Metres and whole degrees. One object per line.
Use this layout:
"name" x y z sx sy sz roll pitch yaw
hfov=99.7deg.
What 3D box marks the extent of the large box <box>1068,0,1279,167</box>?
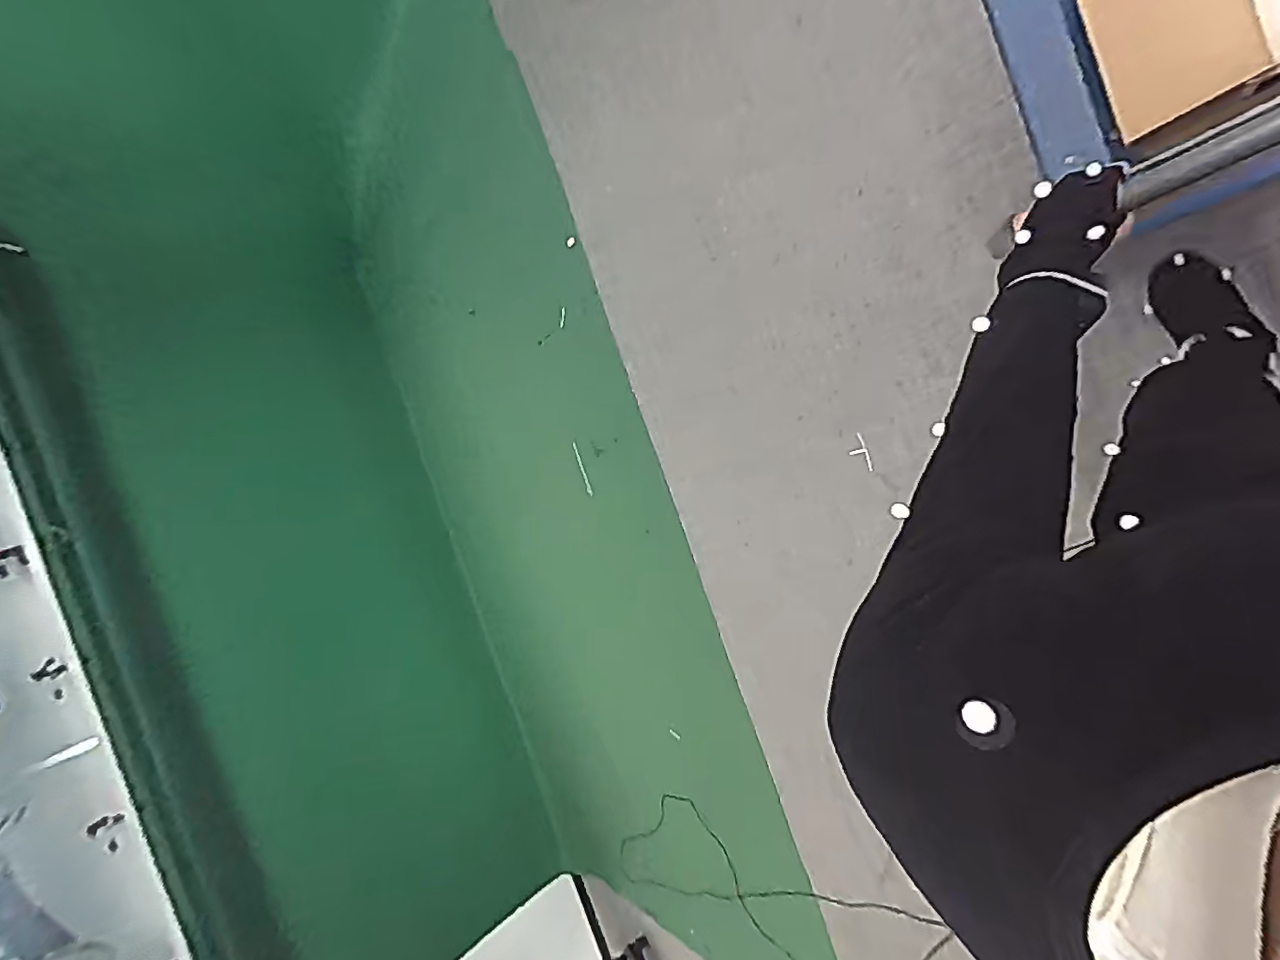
"large box" 0.855 -0.743 0.775 0.320 0.320 0.408 -19 89 51
